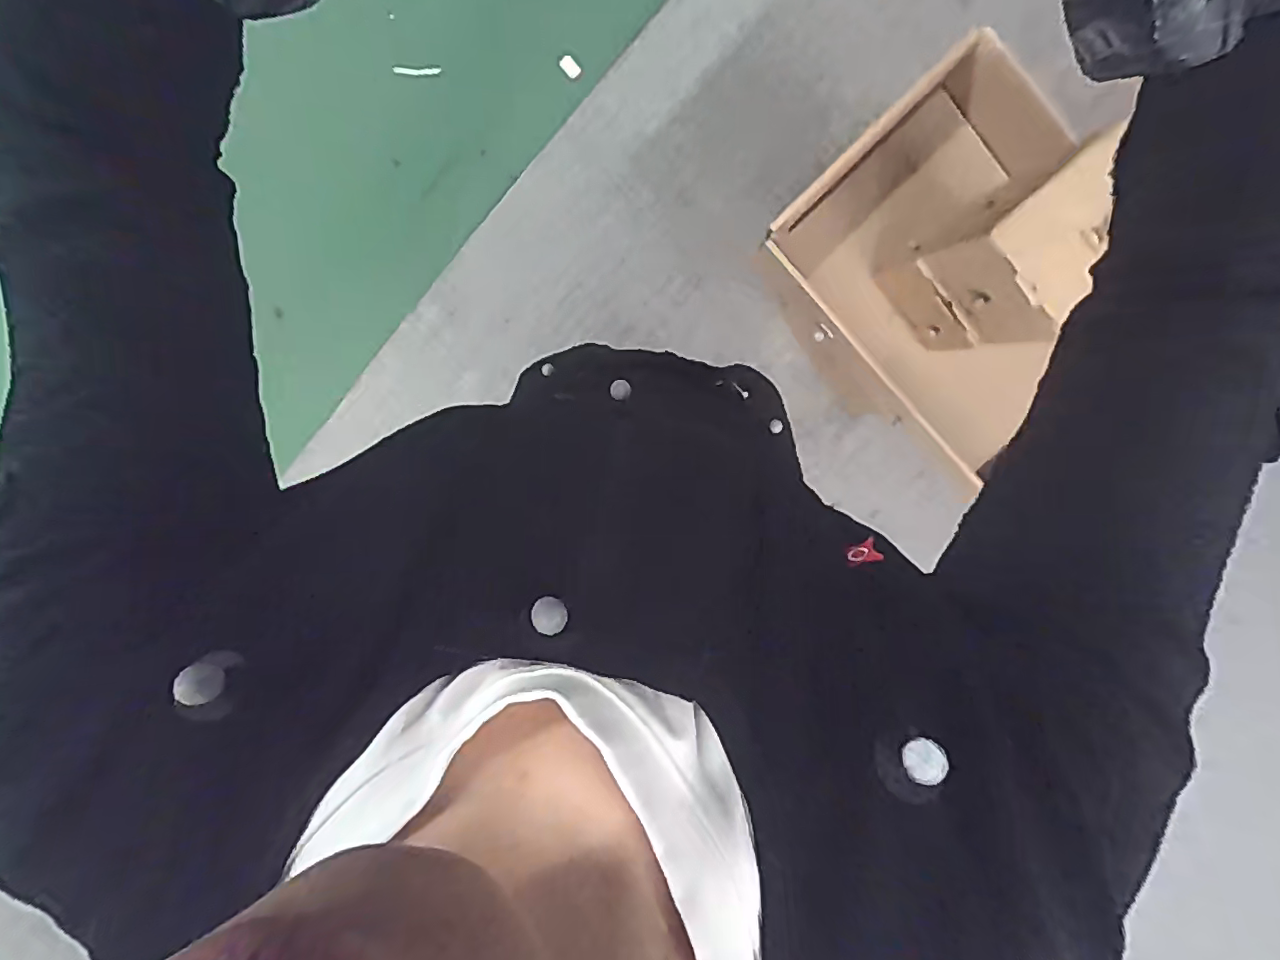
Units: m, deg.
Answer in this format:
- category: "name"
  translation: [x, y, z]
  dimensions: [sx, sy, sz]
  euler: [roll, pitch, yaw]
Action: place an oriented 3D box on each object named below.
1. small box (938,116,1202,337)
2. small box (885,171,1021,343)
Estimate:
- category: "small box"
  translation: [0.517, -0.299, 0.687]
  dimensions: [0.179, 0.176, 0.168]
  euler: [-40, 99, 12]
- category: "small box"
  translation: [0.516, -0.330, 0.848]
  dimensions: [0.179, 0.176, 0.168]
  euler: [-40, 99, 9]
